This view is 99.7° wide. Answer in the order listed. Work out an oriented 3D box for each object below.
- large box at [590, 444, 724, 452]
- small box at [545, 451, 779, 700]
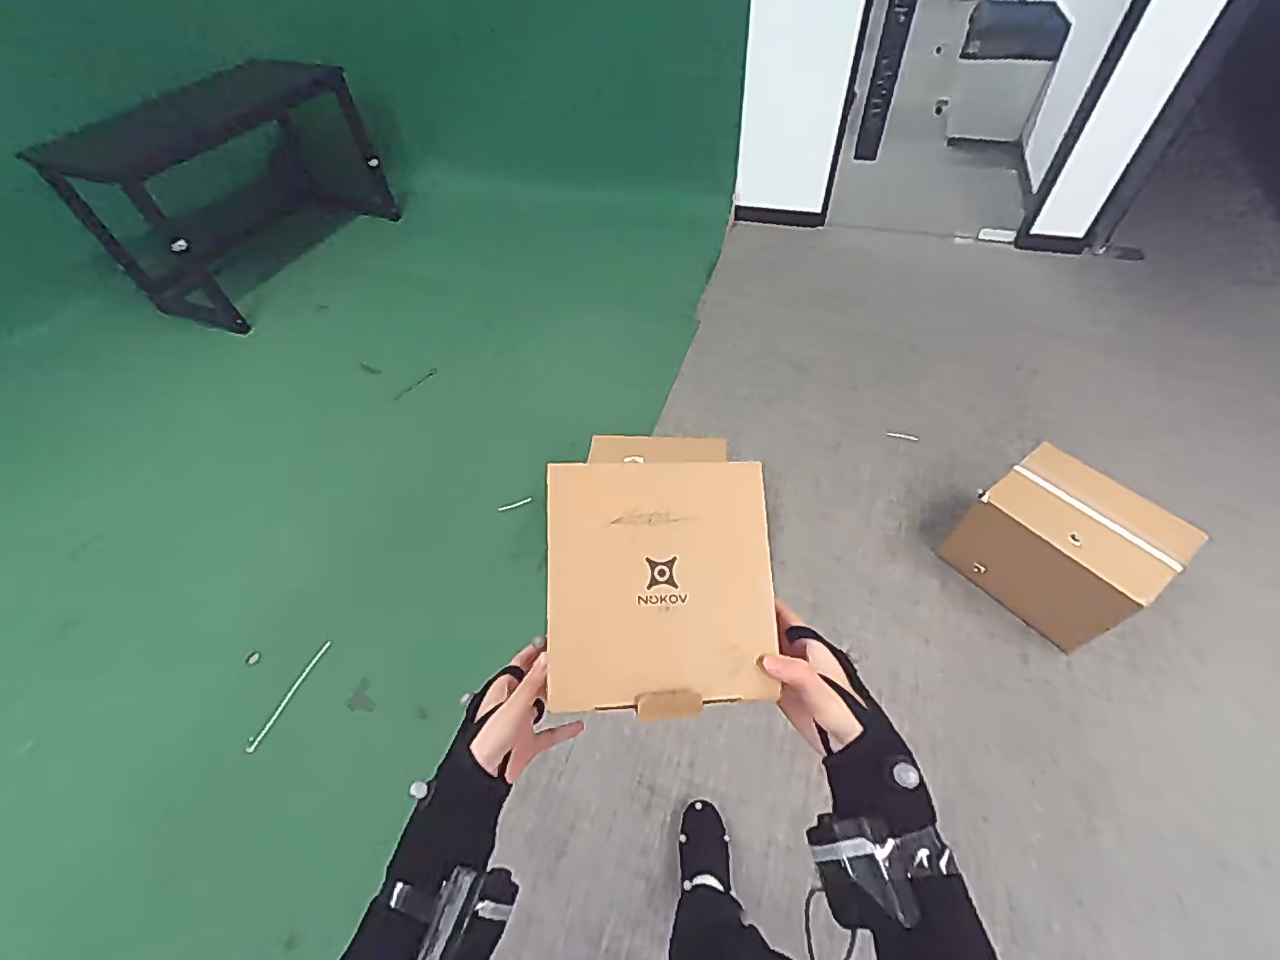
[{"bbox_3d":[0.052,0.106,1.627,0.408,0.320,0.320,1,51,7],"label":"large box"},{"bbox_3d":[0.007,0.081,0.466,0.168,0.176,0.179,0,76,-7],"label":"small box"}]
